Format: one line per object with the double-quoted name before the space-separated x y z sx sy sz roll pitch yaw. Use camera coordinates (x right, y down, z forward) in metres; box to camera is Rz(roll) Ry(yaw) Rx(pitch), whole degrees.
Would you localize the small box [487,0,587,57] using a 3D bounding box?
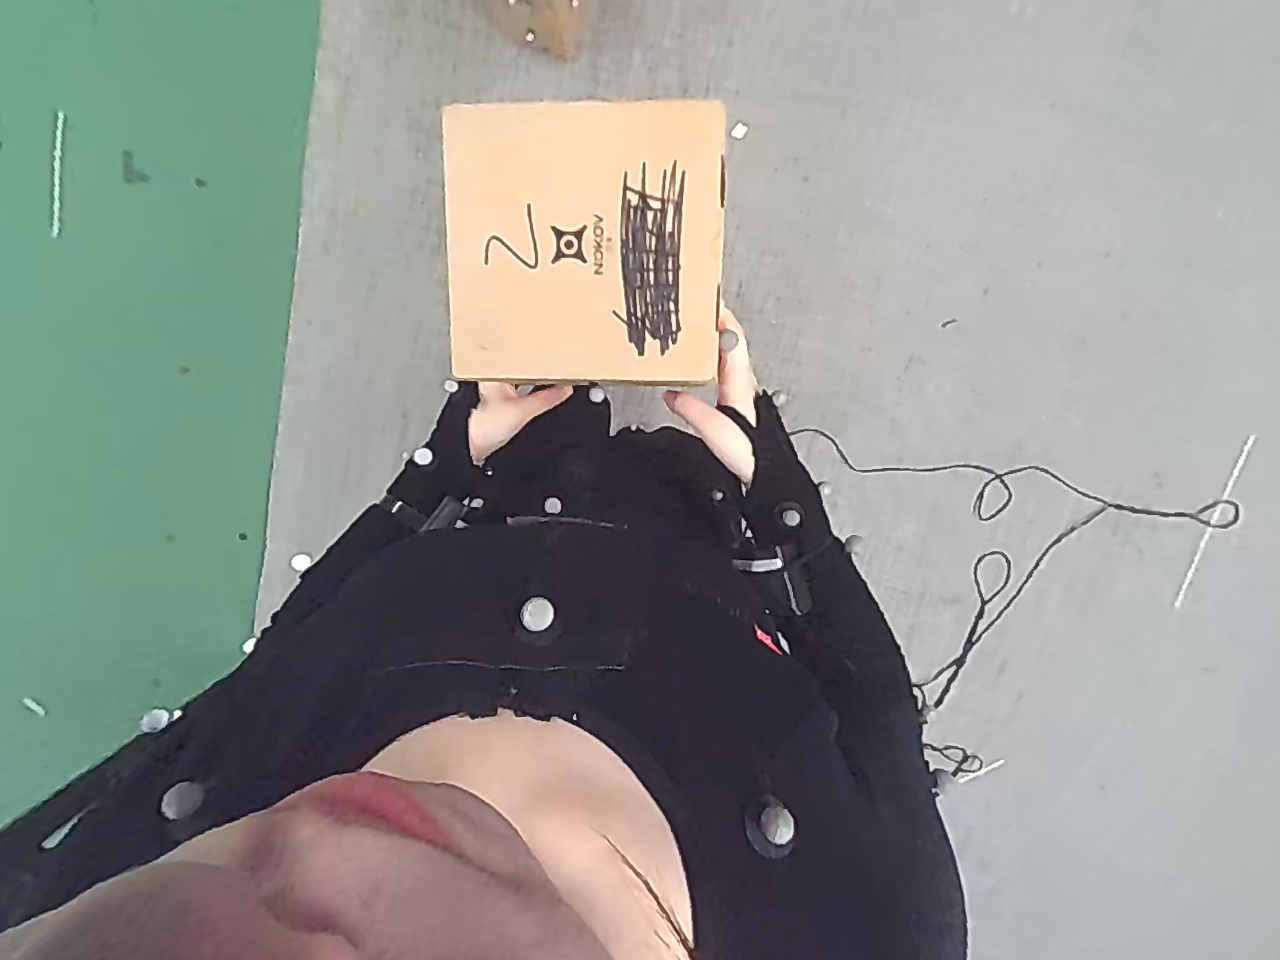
"small box" -0.219 -1.094 1.200 0.168 0.176 0.179 18 102 0
